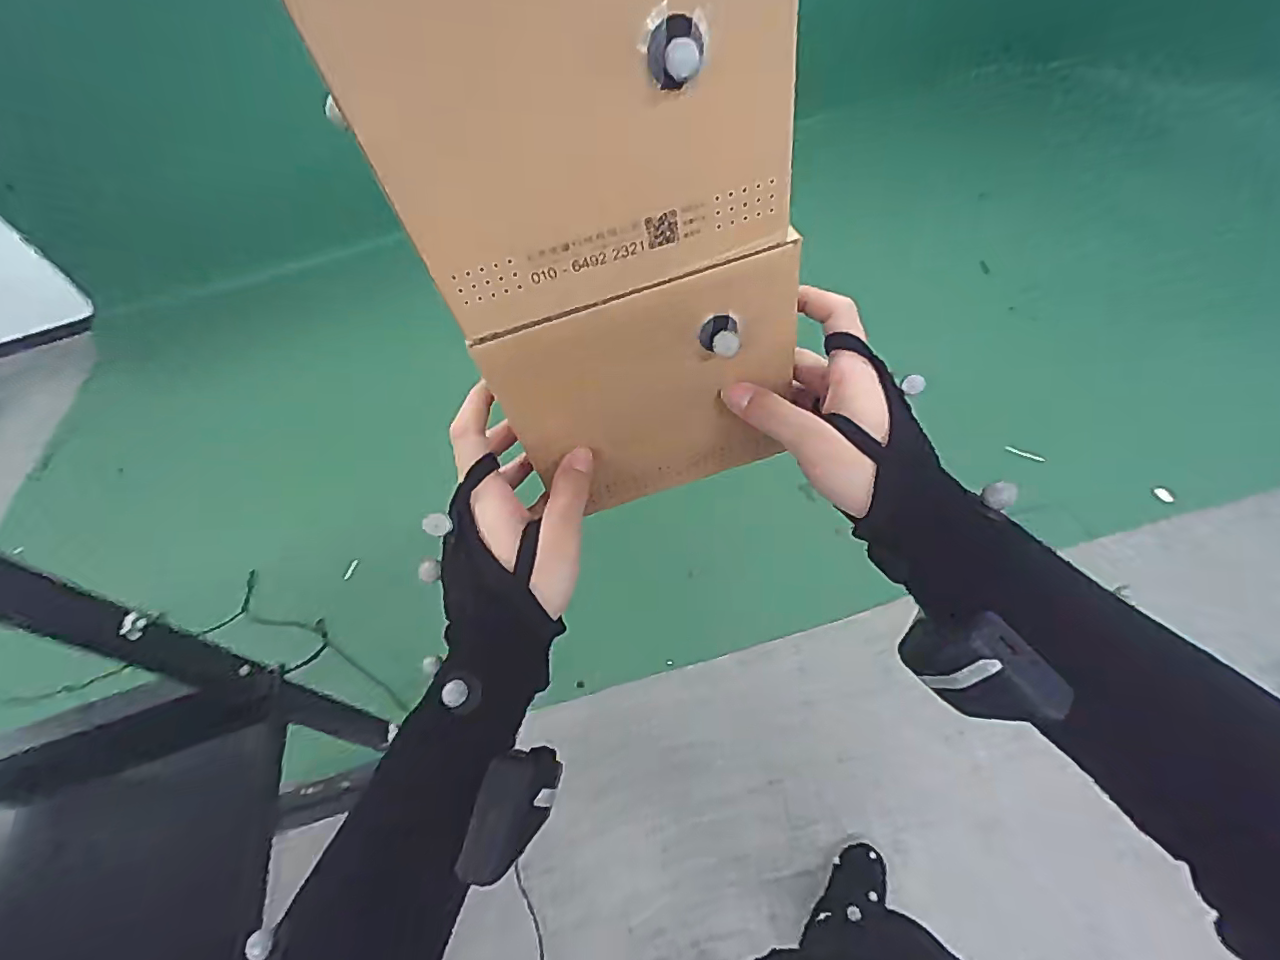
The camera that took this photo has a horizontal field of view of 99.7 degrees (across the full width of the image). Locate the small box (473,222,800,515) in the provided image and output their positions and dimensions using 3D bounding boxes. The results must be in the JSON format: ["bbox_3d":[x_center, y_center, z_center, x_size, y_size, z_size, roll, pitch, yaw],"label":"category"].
[{"bbox_3d":[-0.003,-0.101,0.385,0.179,0.176,0.168,-17,51,1],"label":"small box"}]

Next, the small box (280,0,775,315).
[{"bbox_3d":[-0.039,-0.201,0.260,0.168,0.176,0.179,-16,51,0],"label":"small box"}]
